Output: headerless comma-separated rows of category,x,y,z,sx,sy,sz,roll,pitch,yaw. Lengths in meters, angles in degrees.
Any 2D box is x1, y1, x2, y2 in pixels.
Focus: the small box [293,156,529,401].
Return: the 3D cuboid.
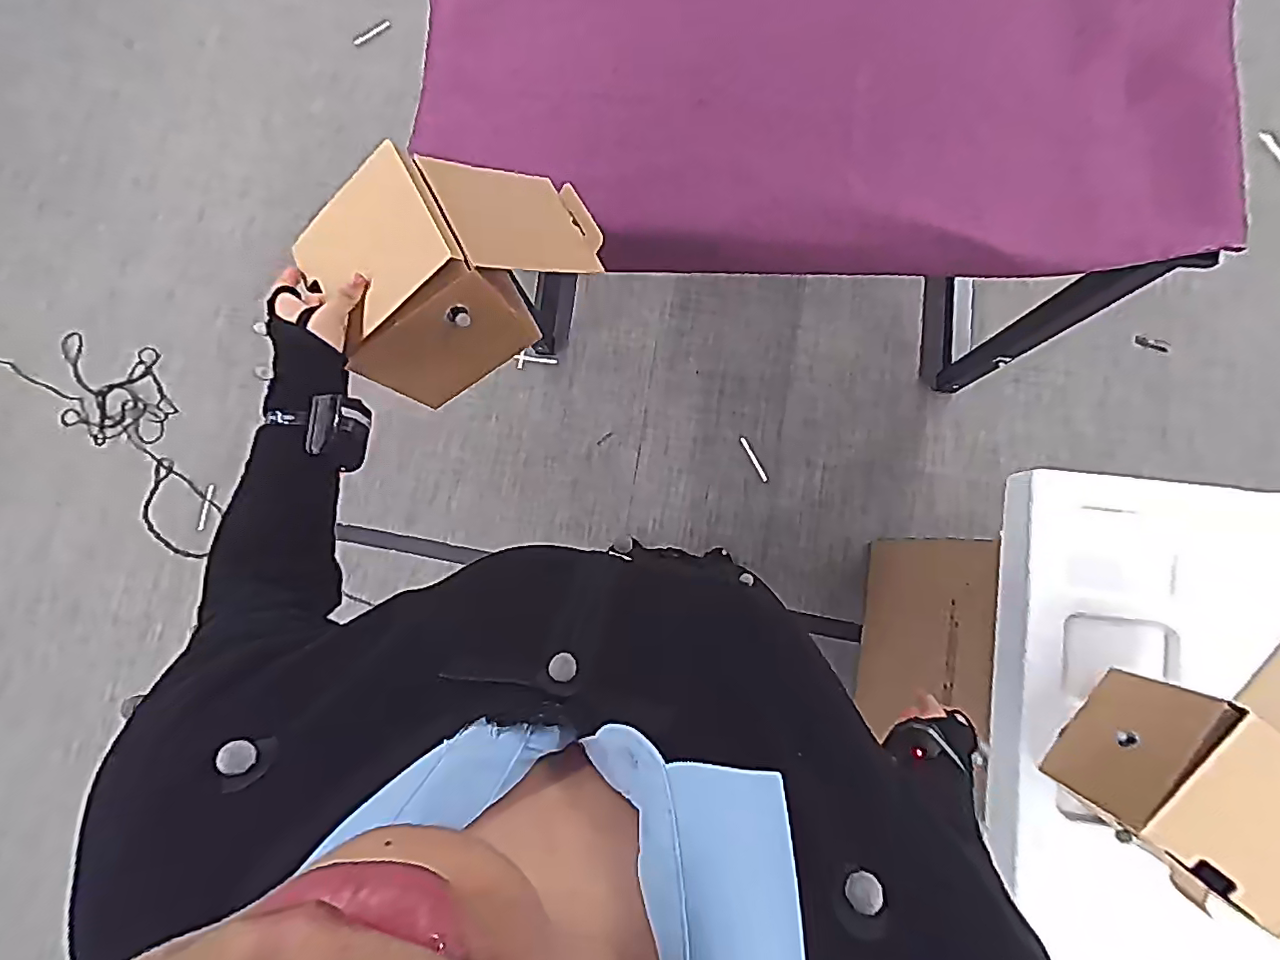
small box,-0.254,-0.222,0.641,0.179,0.176,0.168,-31,74,8
